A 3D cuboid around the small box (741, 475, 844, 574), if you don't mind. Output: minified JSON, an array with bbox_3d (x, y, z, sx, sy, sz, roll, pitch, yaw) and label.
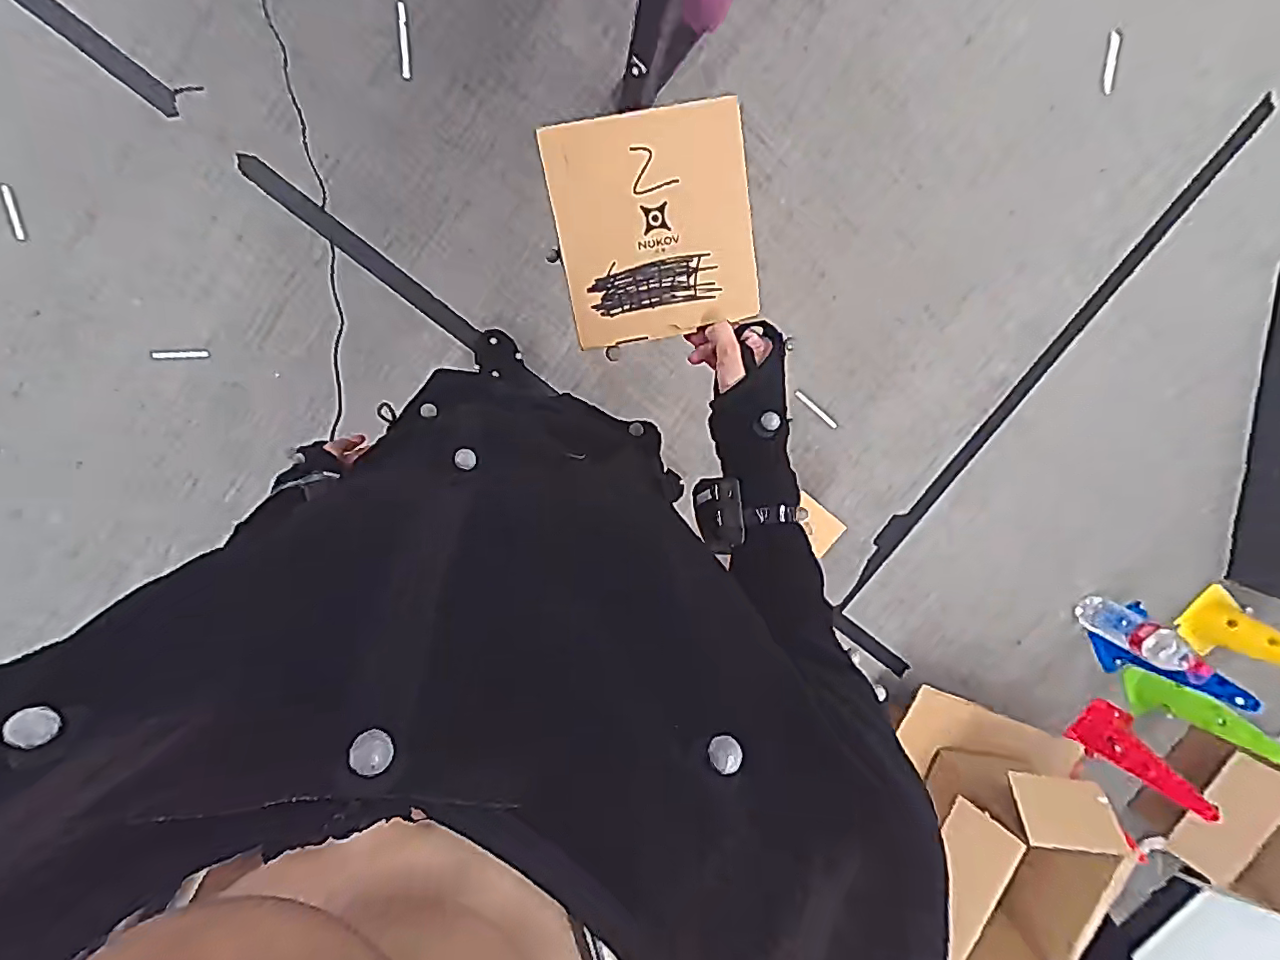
[{"bbox_3d":[0.396,0.111,1.444,0.168,0.176,0.179,37,98,-15],"label":"small box"}]
